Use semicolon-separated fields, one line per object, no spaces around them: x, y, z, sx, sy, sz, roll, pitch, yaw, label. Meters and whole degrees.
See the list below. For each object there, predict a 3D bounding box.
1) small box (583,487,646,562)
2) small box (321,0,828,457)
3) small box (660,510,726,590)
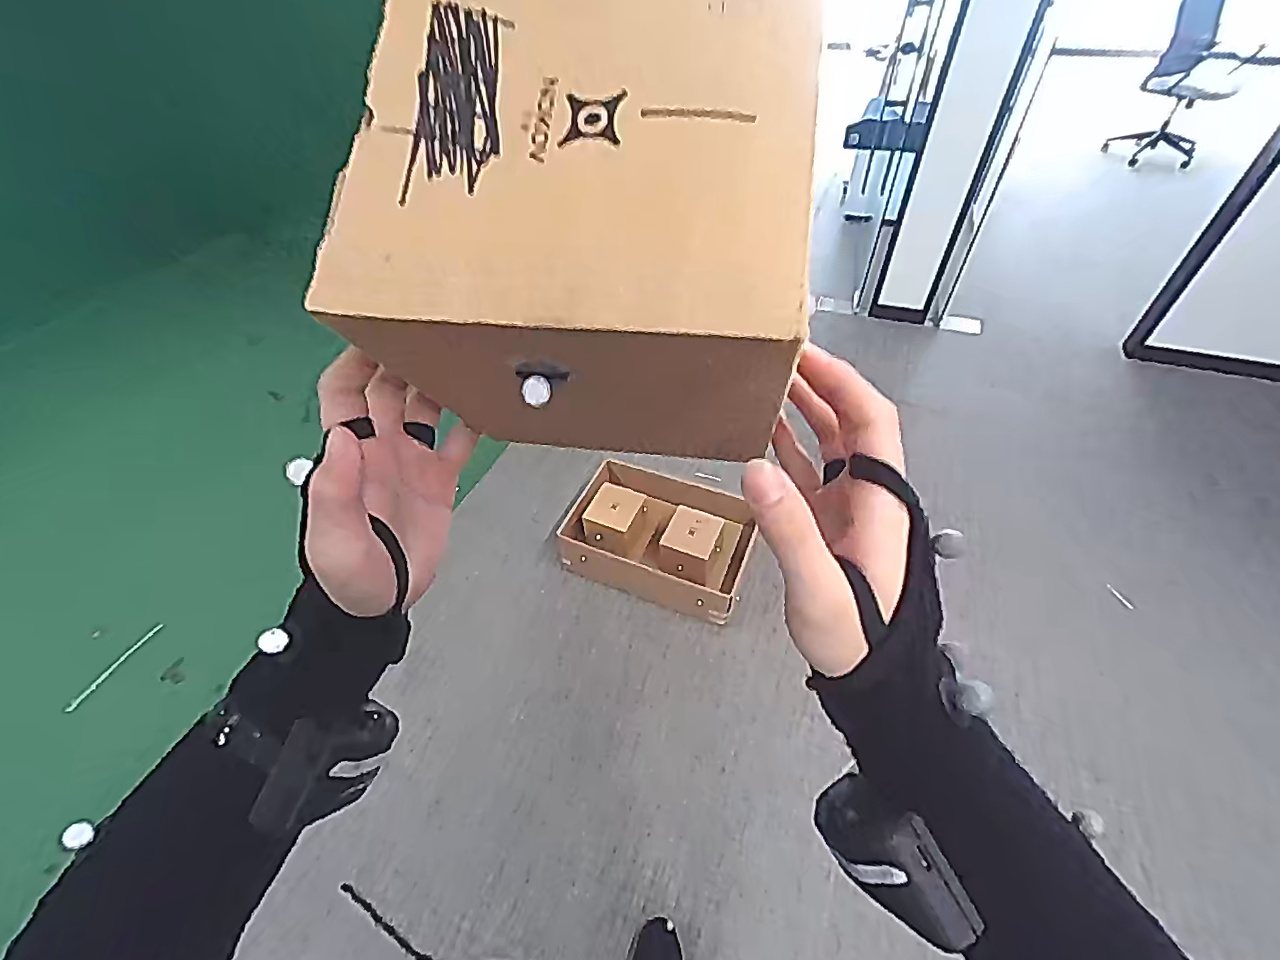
-0.081;0.159;1.885;0.168;0.176;0.179;17;50;17;small box
-0.012;-0.115;0.279;0.179;0.176;0.168;6;79;9;small box
0.177;0.236;1.799;0.168;0.176;0.179;18;51;19;small box
